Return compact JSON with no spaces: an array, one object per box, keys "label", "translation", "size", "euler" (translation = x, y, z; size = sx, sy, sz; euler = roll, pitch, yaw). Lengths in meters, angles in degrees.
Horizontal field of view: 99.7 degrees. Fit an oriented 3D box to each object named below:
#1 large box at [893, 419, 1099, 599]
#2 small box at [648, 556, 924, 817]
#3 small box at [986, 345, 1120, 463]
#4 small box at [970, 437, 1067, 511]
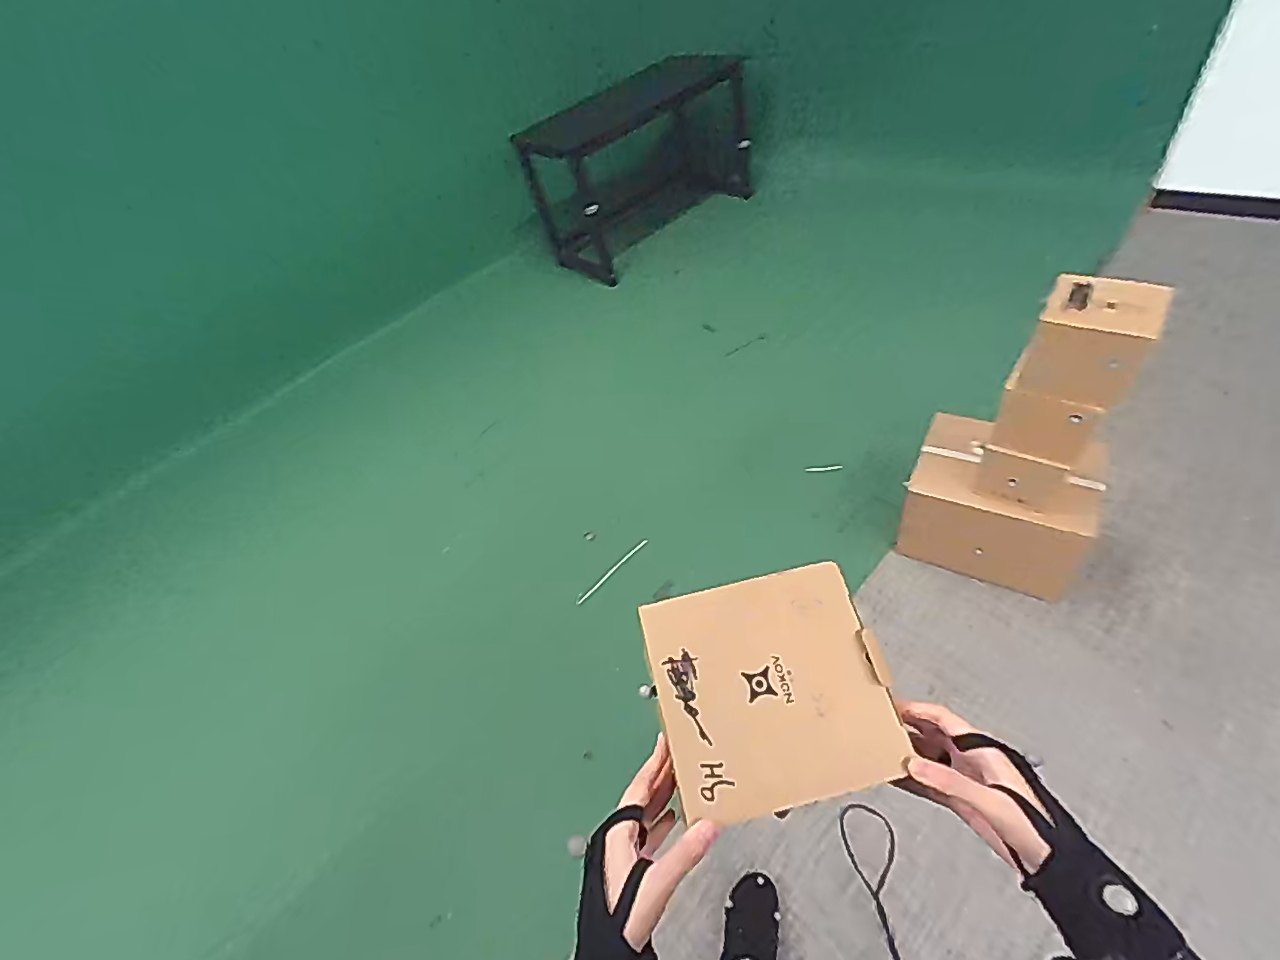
[{"label":"large box","translation":[0.967,0.075,1.504],"size":[0.408,0.320,0.320],"euler":[17,55,30]},{"label":"small box","translation":[0.106,0.185,0.485],"size":[0.179,0.176,0.168],"euler":[-10,61,-4]},{"label":"small box","translation":[0.890,-0.163,1.180],"size":[0.179,0.176,0.168],"euler":[25,60,32]},{"label":"small box","translation":[0.918,-0.056,1.298],"size":[0.168,0.176,0.179],"euler":[24,60,31]}]
